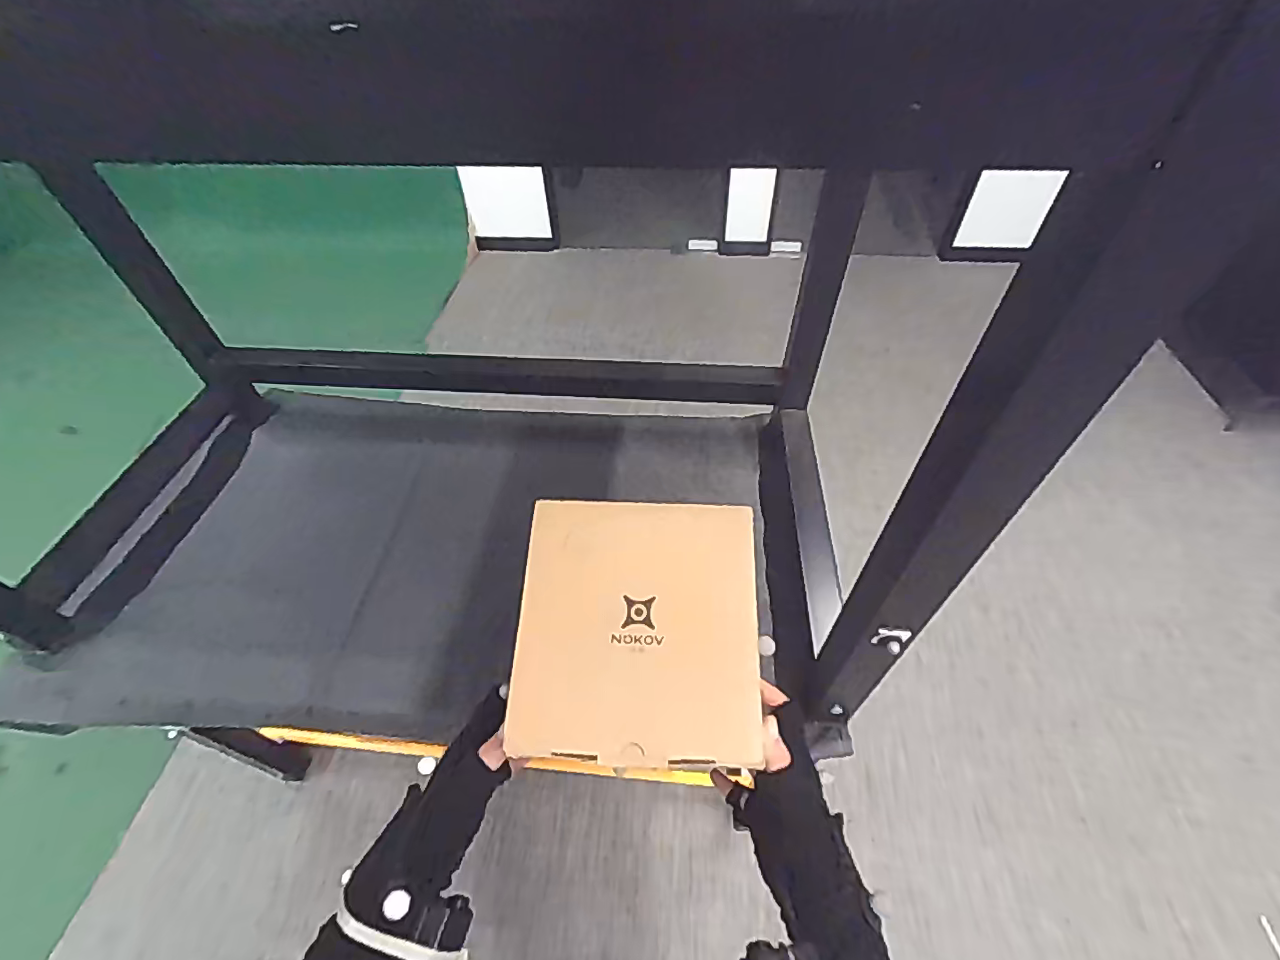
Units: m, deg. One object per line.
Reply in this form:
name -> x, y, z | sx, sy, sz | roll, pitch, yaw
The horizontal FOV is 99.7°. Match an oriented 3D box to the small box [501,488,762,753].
small box -> -0.001, 0.121, 0.441 | 0.168, 0.176, 0.179 | 1, 64, 2
